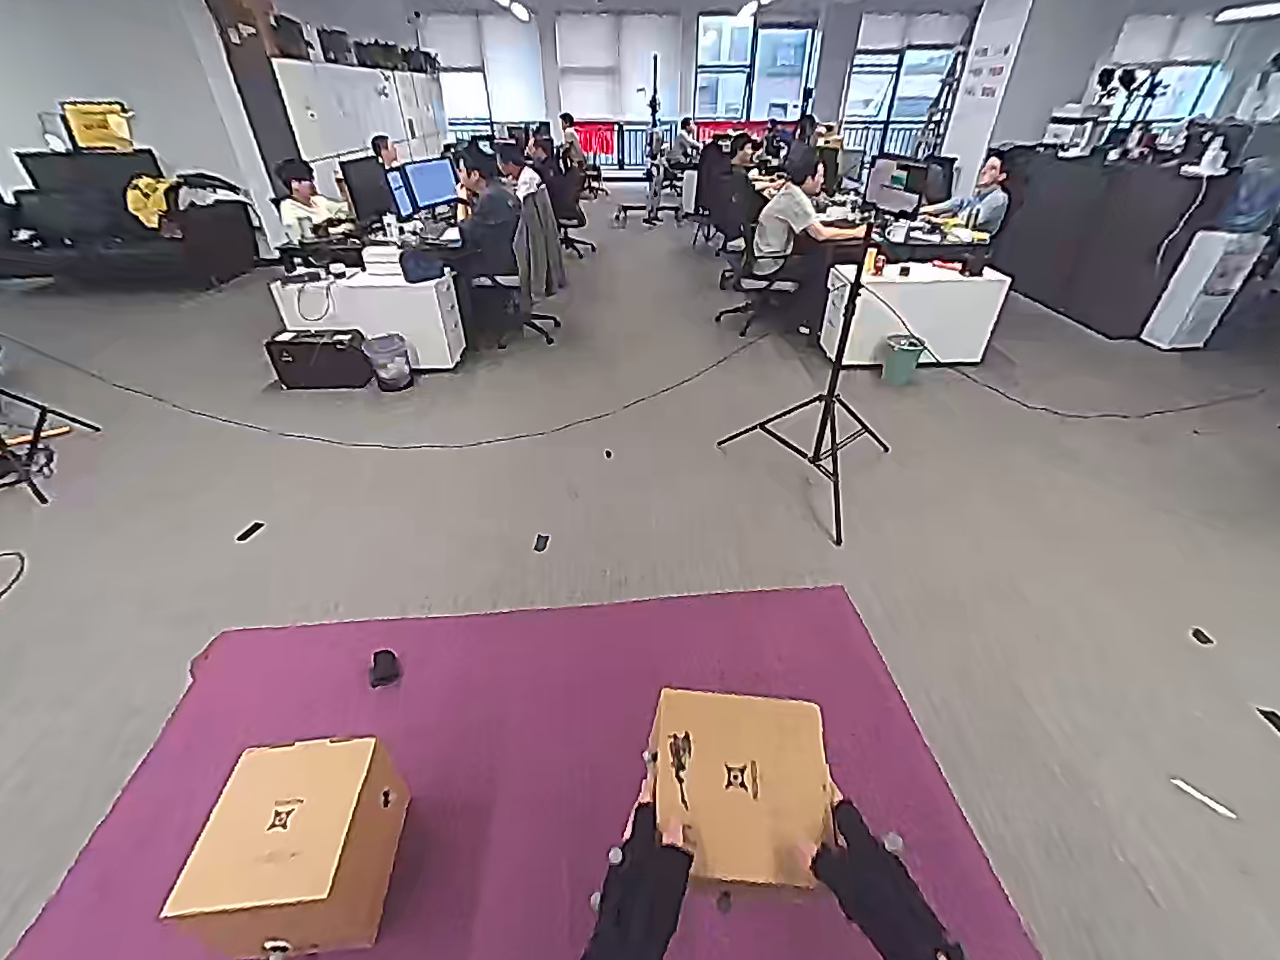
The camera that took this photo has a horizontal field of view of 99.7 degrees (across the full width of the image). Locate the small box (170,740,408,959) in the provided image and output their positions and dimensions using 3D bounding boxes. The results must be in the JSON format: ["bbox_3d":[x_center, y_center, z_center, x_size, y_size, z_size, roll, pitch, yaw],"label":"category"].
[{"bbox_3d":[-0.402,0.453,0.664,0.168,0.176,0.179,-4,36,-4],"label":"small box"}]

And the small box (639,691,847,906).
[{"bbox_3d":[0.098,0.348,0.586,0.179,0.176,0.168,6,49,0],"label":"small box"}]
